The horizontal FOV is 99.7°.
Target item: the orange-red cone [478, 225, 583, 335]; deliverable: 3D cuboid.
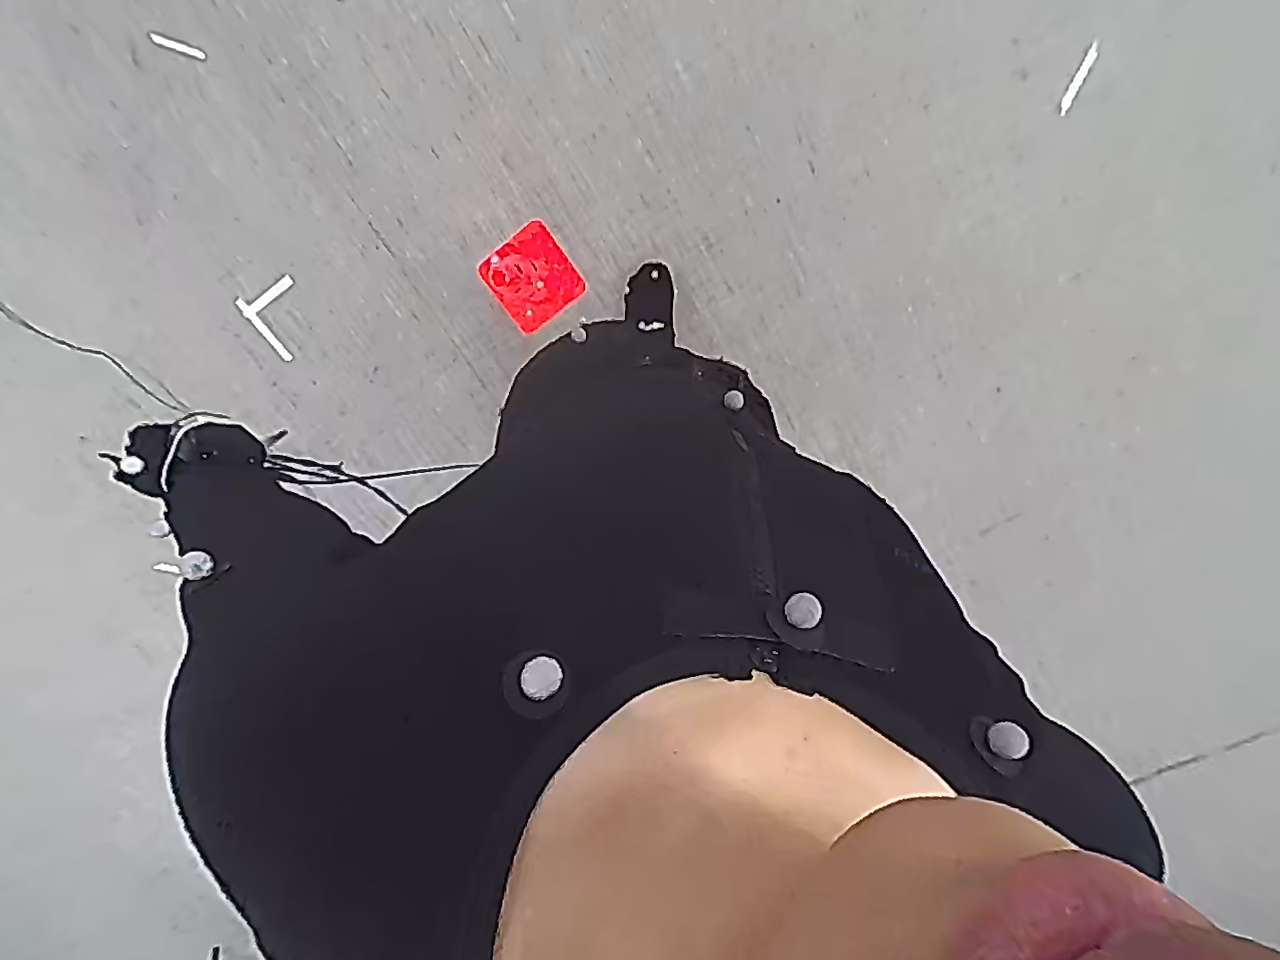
[{"bbox_3d":[-0.258,-0.422,1.142,0.199,0.360,0.198,-34,108,9],"label":"orange-red cone"}]
